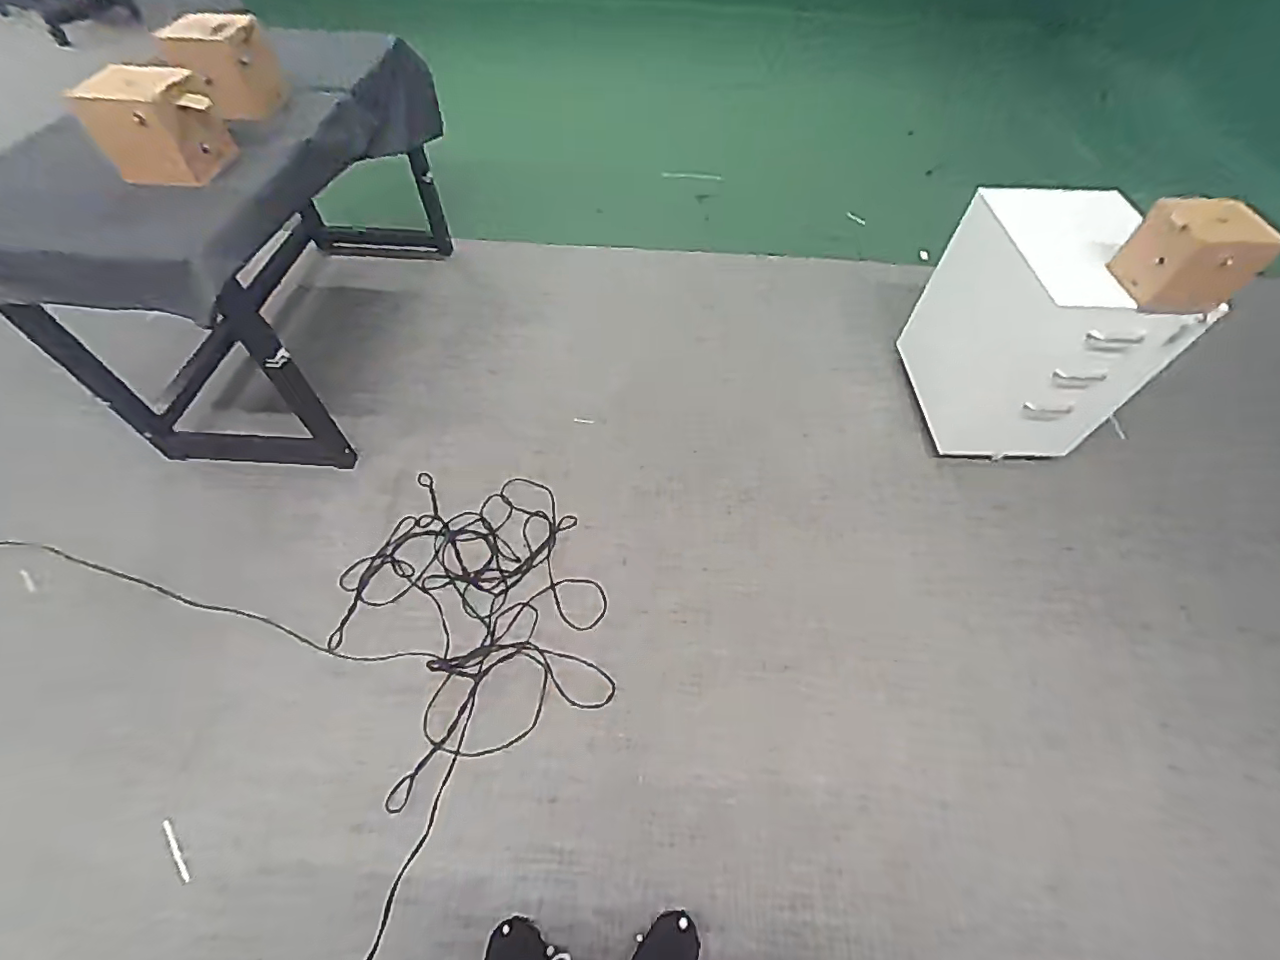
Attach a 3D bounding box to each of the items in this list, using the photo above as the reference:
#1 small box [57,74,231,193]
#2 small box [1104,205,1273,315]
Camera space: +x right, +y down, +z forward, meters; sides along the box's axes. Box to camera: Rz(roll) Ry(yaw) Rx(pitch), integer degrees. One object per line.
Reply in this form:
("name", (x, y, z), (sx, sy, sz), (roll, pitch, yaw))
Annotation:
("small box", (-1.037, -0.733, 1.150), (0.179, 0.176, 0.168), (3, 54, 0))
("small box", (1.190, -0.485, 1.198), (0.179, 0.176, 0.168), (1, 55, -2))
